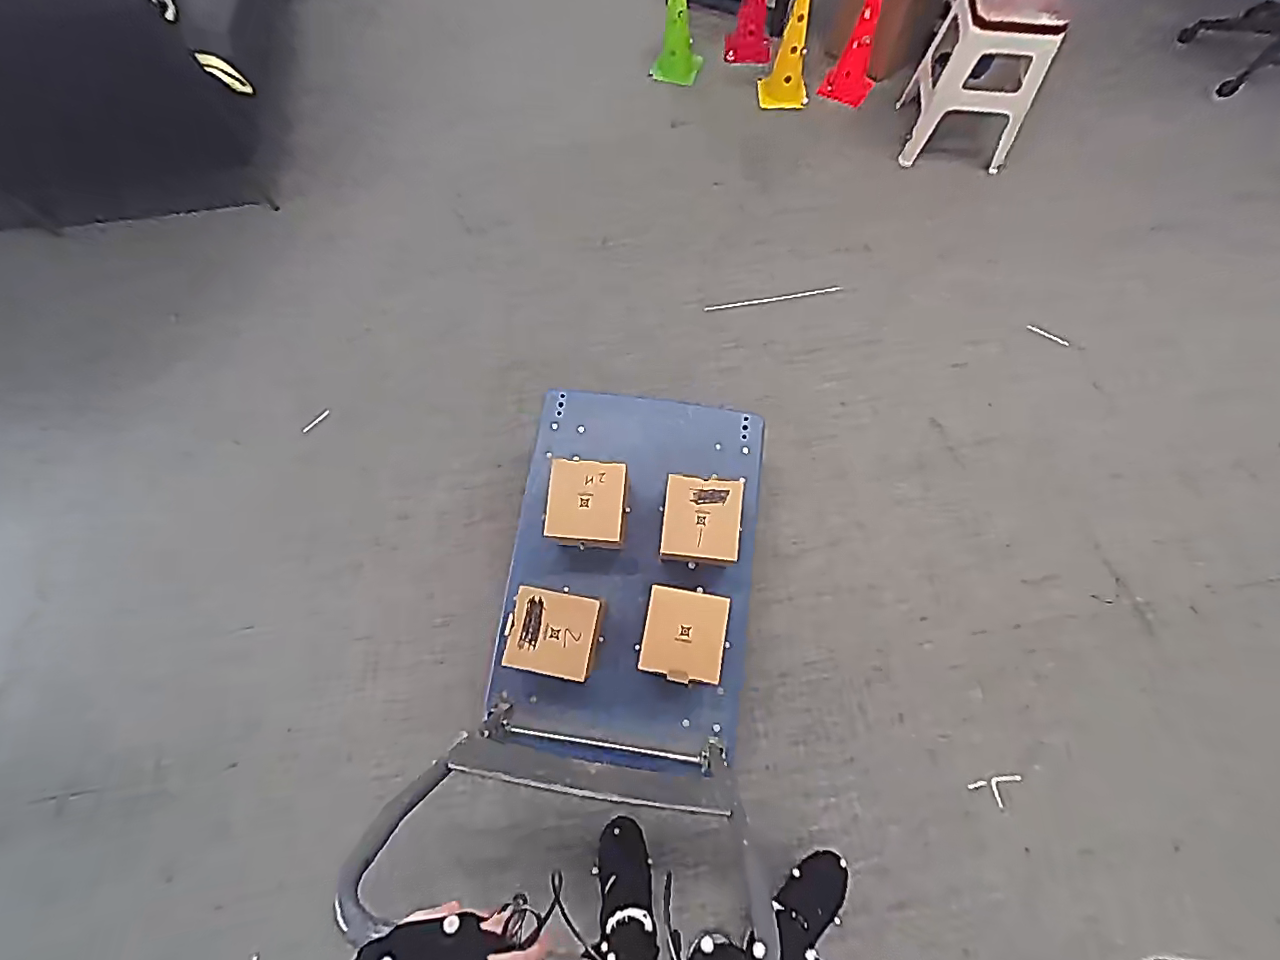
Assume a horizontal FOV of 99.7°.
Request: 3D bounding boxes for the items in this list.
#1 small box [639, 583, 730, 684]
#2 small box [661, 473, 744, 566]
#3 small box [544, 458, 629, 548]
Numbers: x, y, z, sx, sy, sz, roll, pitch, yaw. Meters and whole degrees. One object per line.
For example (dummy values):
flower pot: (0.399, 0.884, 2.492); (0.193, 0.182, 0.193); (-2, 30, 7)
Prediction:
small box: (0.094, 0.330, 1.182); (0.168, 0.176, 0.179); (10, 78, 4)
small box: (0.137, 0.095, 1.234); (0.168, 0.176, 0.179); (6, 78, 4)
small box: (-0.116, 0.059, 1.252); (0.168, 0.176, 0.179); (5, 77, 2)
